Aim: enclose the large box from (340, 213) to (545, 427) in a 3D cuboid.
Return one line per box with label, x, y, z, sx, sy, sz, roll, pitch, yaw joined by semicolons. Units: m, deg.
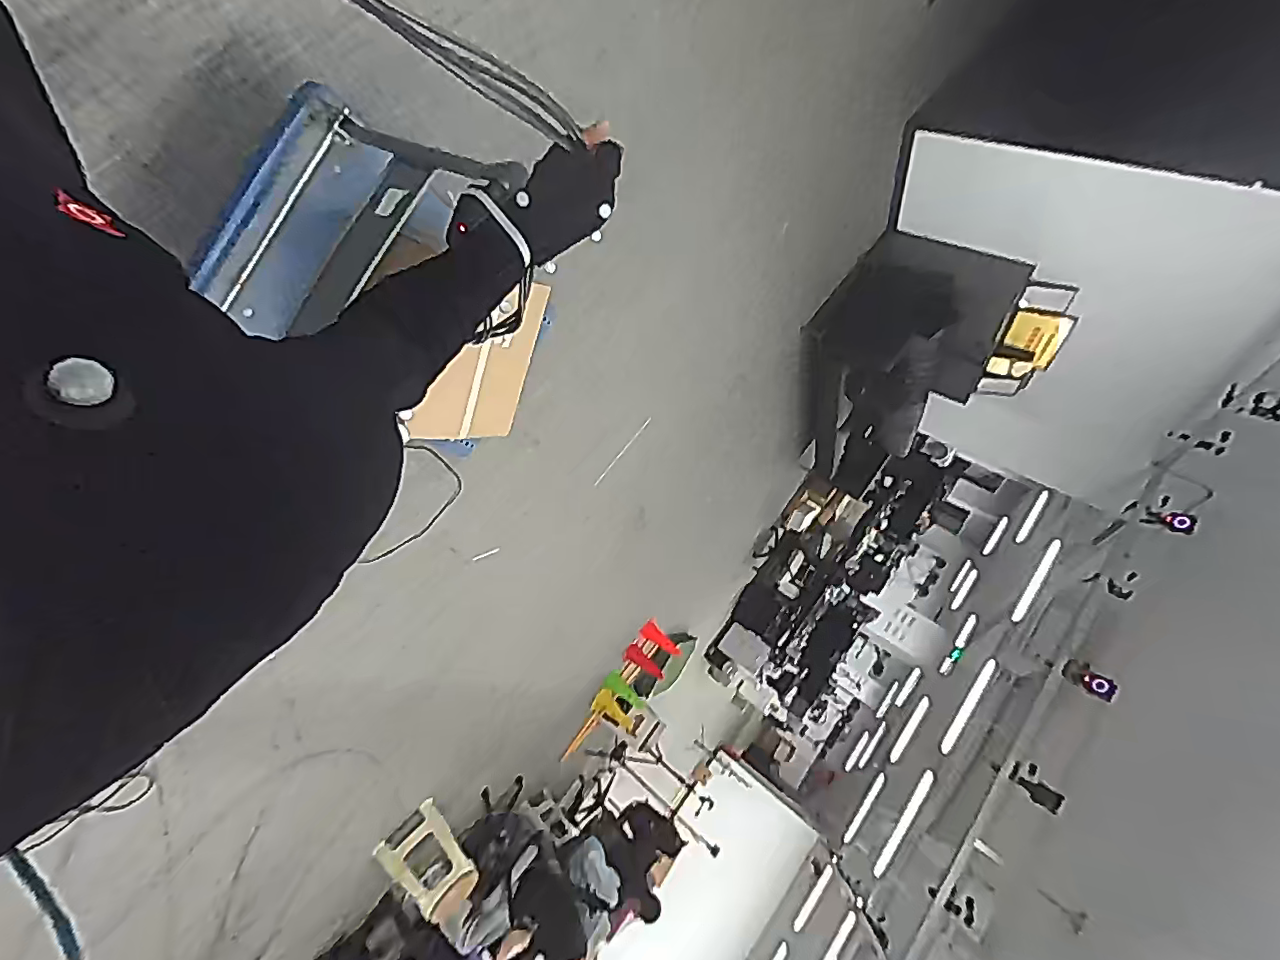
large box;-0.491;-0.374;1.329;0.320;0.320;0.408;-9;125;-55
